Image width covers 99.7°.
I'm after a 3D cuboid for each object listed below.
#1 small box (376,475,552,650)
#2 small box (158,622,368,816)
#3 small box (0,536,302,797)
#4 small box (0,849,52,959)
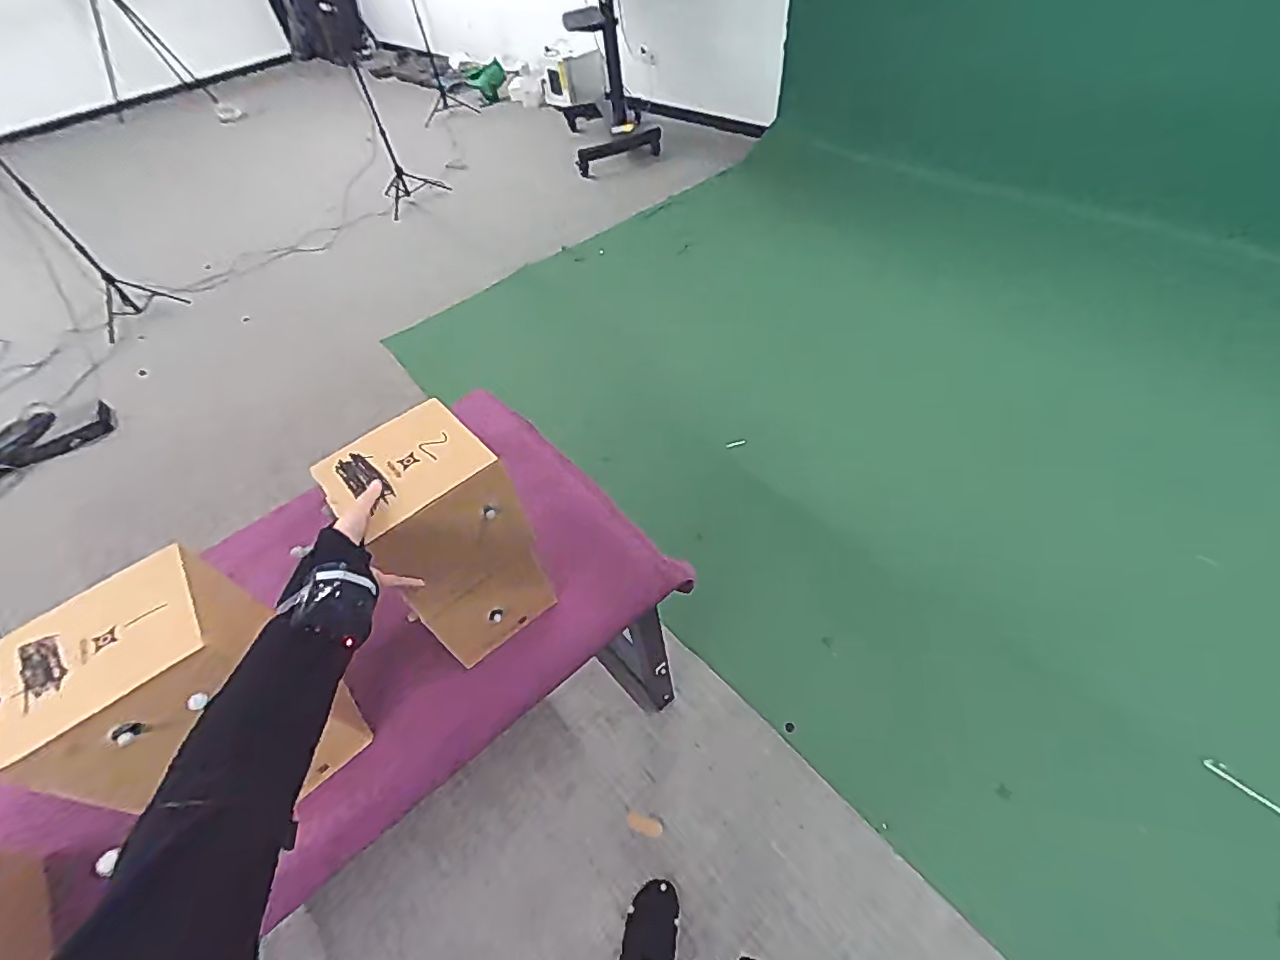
[{"bbox_3d":[-0.257,0.132,0.820,0.168,0.176,0.179,-35,53,-20],"label":"small box"},{"bbox_3d":[-0.495,0.307,0.709,0.168,0.176,0.179,-38,54,-22],"label":"small box"},{"bbox_3d":[-0.514,0.202,0.583,0.179,0.176,0.168,-35,53,-20],"label":"small box"},{"bbox_3d":[-0.789,0.520,0.569,0.168,0.176,0.179,-38,56,-22],"label":"small box"}]
